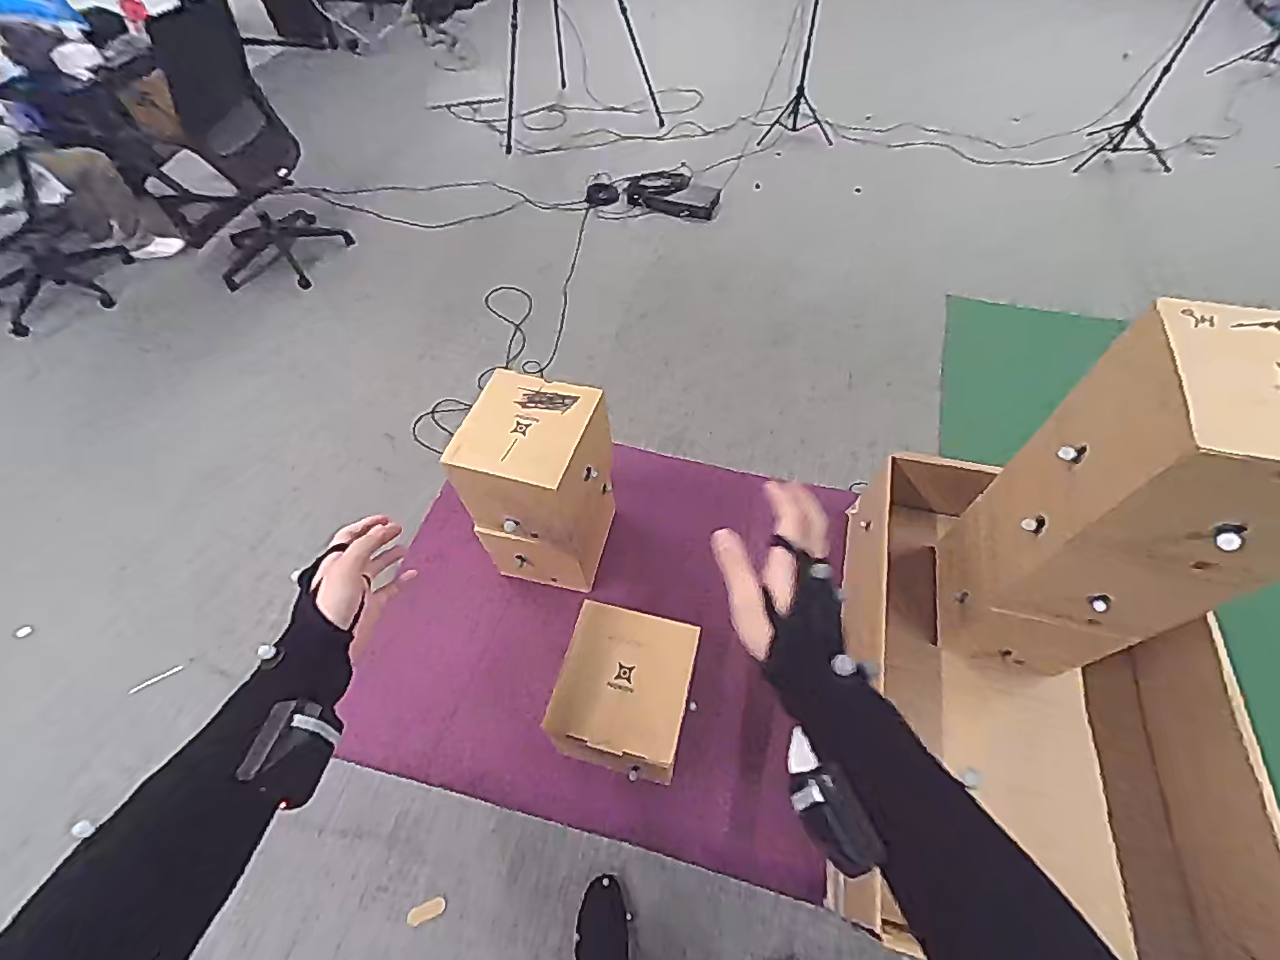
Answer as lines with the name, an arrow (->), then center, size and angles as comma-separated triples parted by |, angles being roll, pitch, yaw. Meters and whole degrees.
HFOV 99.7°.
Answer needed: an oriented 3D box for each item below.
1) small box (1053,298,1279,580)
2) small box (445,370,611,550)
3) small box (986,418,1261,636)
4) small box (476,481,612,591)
small box -> 0.513, -0.031, 0.488 | 0.168, 0.176, 0.179 | 13, 60, 12
small box -> -0.146, -0.027, 0.781 | 0.168, 0.176, 0.179 | 13, 57, 12
small box -> 0.526, 0.059, 0.625 | 0.168, 0.176, 0.179 | 13, 58, 12
small box -> -0.148, 0.068, 0.915 | 0.168, 0.176, 0.179 | 10, 55, 9
